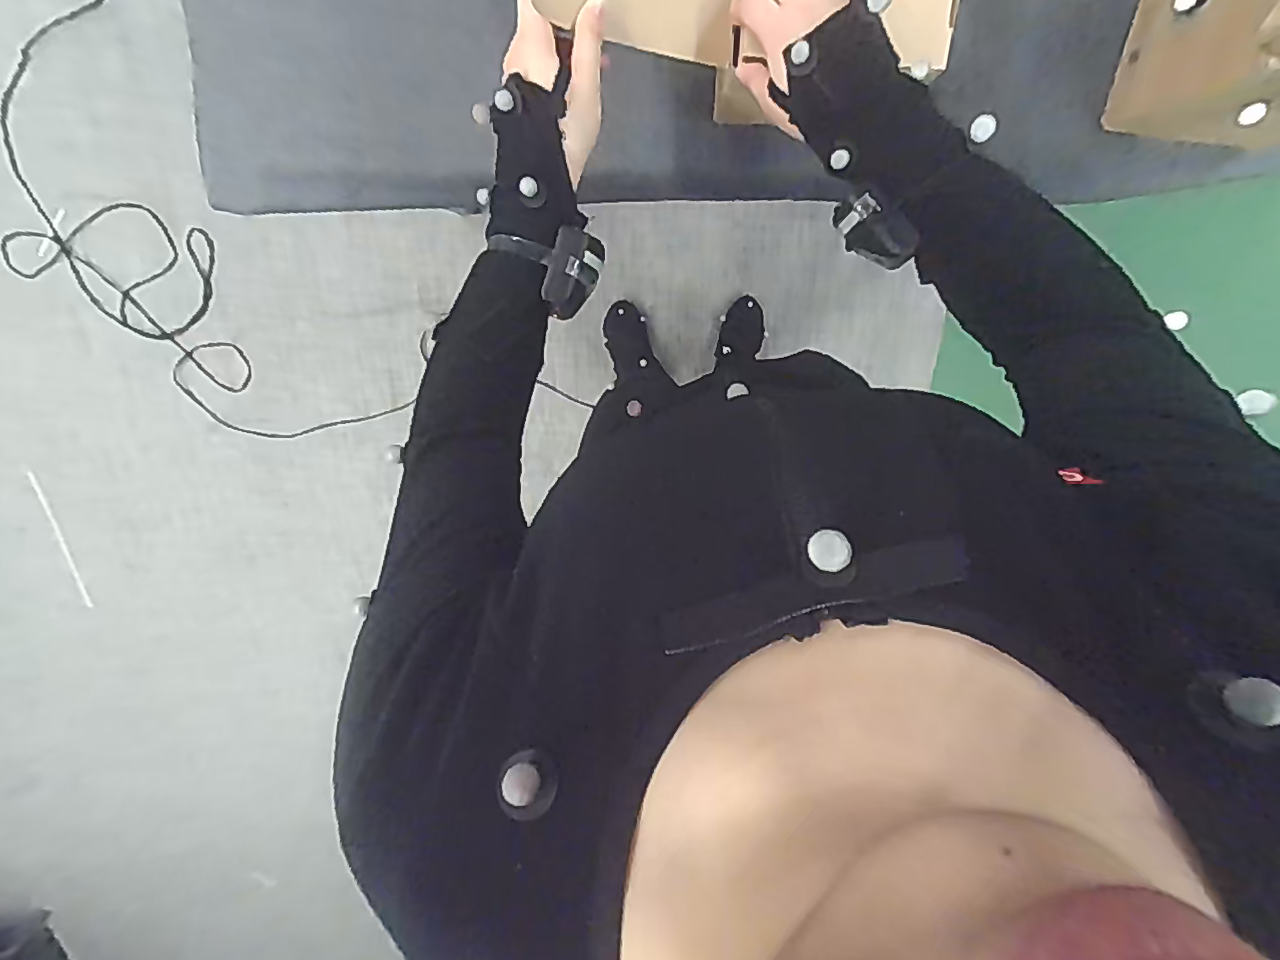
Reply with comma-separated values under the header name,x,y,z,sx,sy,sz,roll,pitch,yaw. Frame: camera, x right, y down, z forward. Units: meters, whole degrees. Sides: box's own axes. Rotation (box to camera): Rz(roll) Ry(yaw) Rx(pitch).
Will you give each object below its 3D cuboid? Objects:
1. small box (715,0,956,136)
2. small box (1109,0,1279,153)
name,x,y,z,sx,sy,sz,roll,pitch,yaw
small box,0.169,-0.433,0.497,0.179,0.176,0.168,3,110,3
small box,0.595,-0.418,0.493,0.179,0.176,0.168,6,108,0
